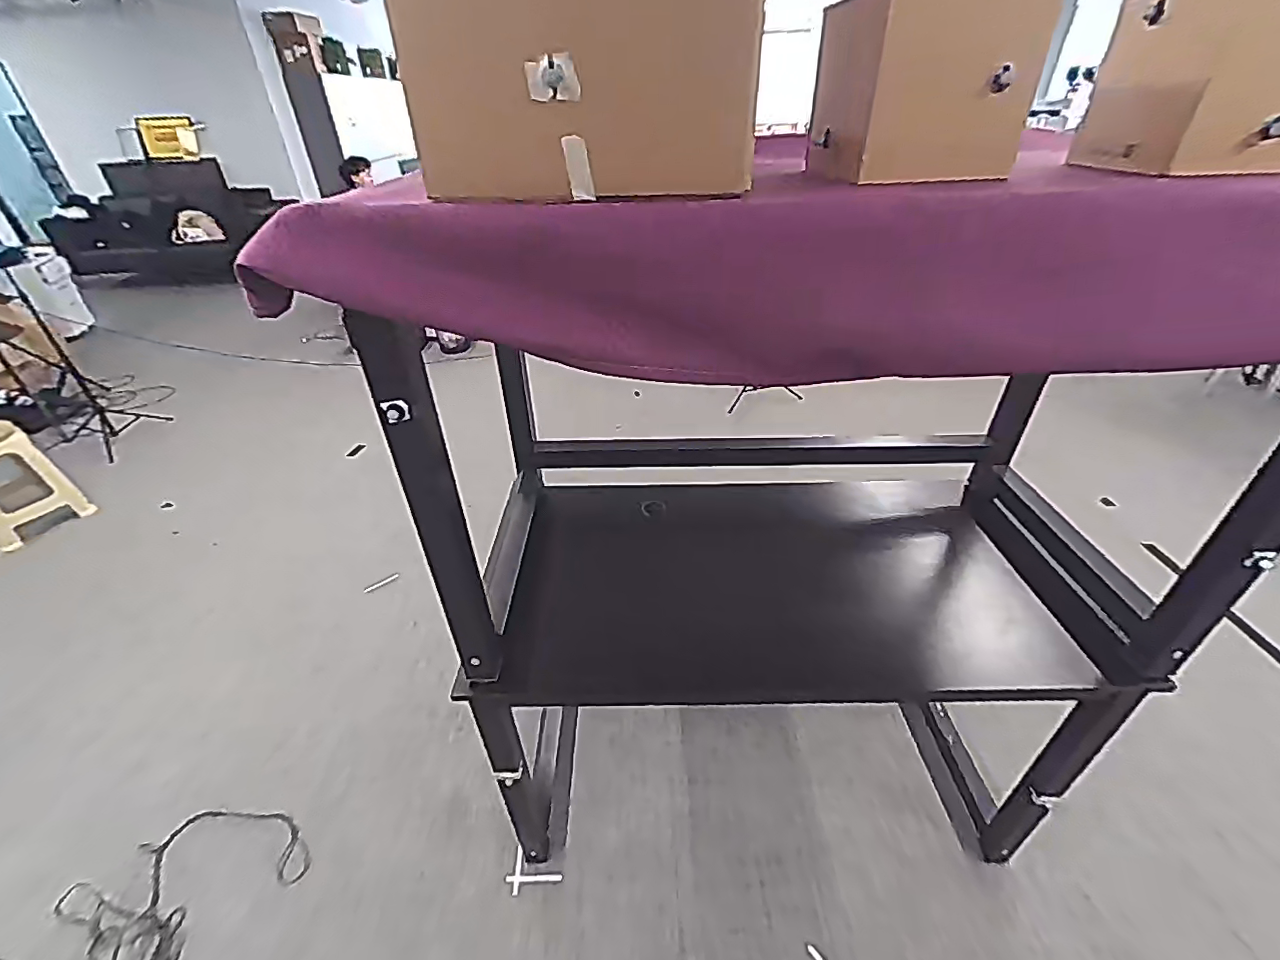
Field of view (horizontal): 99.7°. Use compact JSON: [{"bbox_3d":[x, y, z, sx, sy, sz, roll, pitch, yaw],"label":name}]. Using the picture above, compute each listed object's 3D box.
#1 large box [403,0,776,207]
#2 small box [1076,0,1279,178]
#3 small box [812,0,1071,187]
[{"bbox_3d":[-0.039,-0.495,0.588,0.320,0.320,0.408,1,34,2],"label":"large box"},{"bbox_3d":[0.635,-0.431,0.583,0.179,0.176,0.168,-1,34,1],"label":"small box"},{"bbox_3d":[0.312,-0.433,0.602,0.179,0.176,0.168,-5,34,-4],"label":"small box"}]
